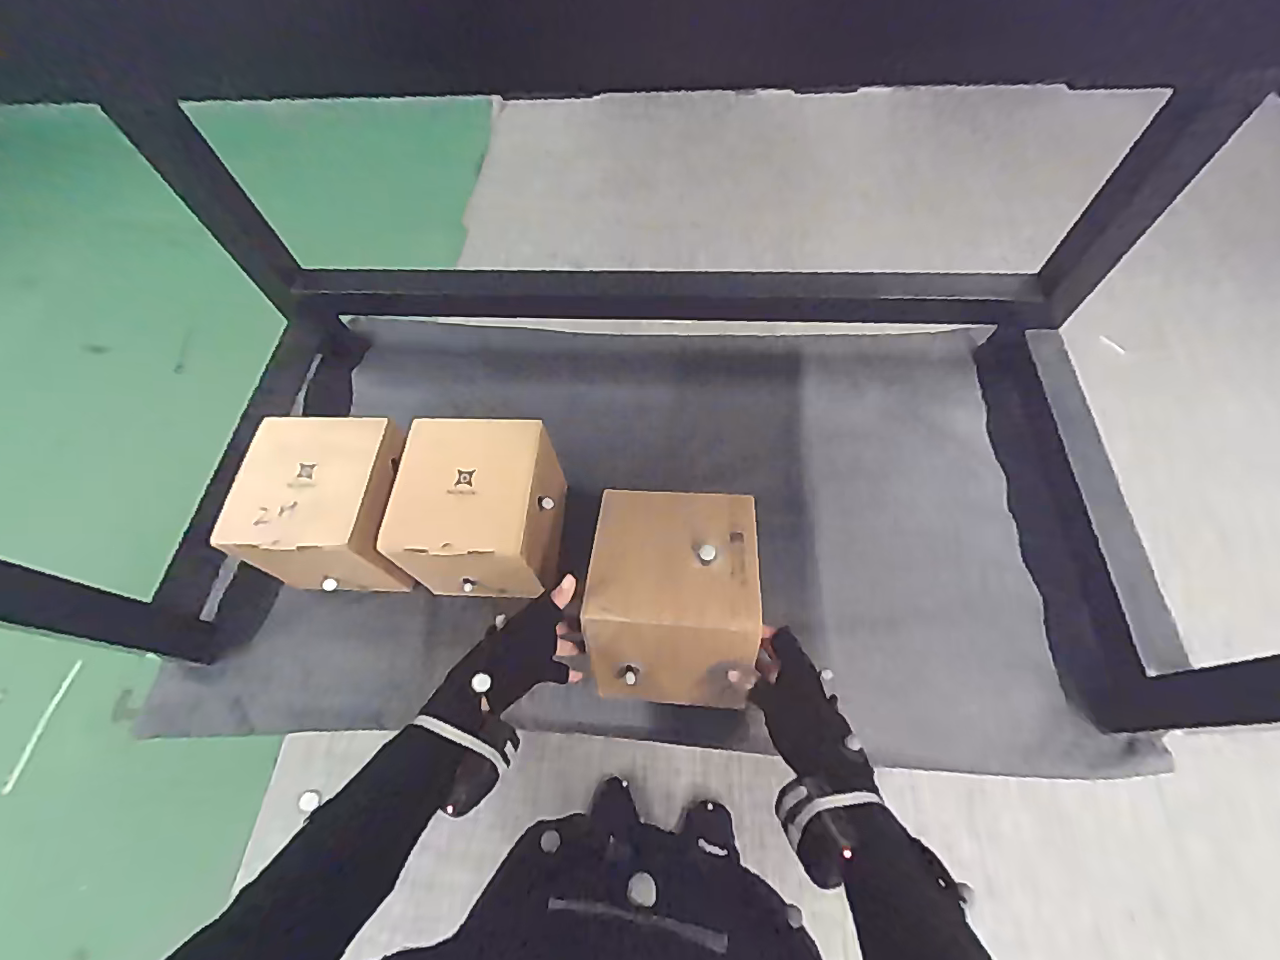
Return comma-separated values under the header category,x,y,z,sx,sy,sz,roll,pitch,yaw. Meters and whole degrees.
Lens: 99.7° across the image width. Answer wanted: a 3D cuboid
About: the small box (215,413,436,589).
category,x,y,z,sx,sy,sz,roll,pitch,yaw
small box,-0.388,0.031,0.710,0.168,0.176,0.179,0,62,5
